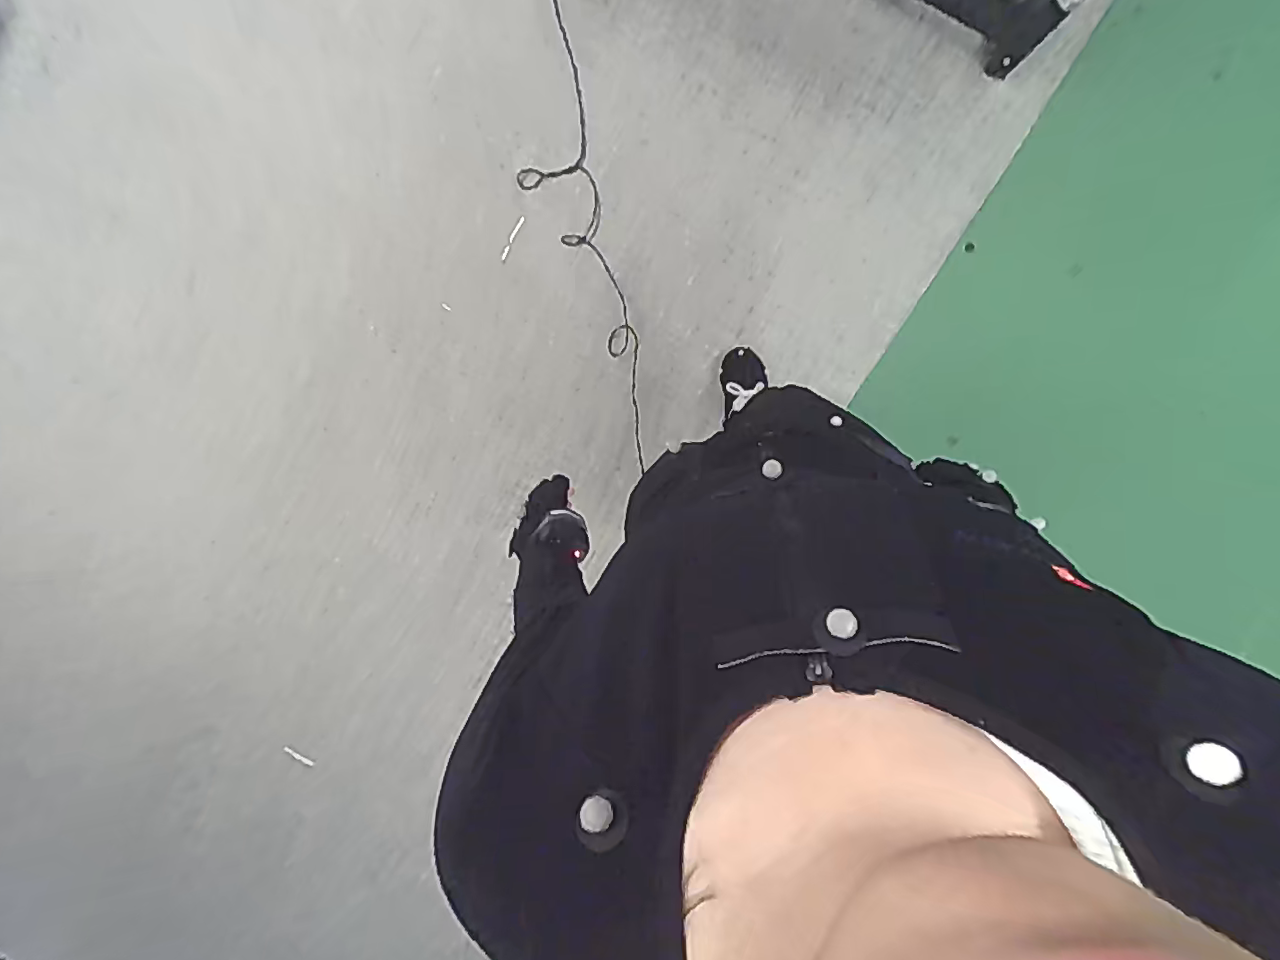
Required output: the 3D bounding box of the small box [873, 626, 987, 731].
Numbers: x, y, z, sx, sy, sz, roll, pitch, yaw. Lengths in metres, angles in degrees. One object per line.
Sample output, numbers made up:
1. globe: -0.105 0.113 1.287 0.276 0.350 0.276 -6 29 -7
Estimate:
1. small box: 0.763 0.519 1.442 0.179 0.176 0.168 30 100 0
